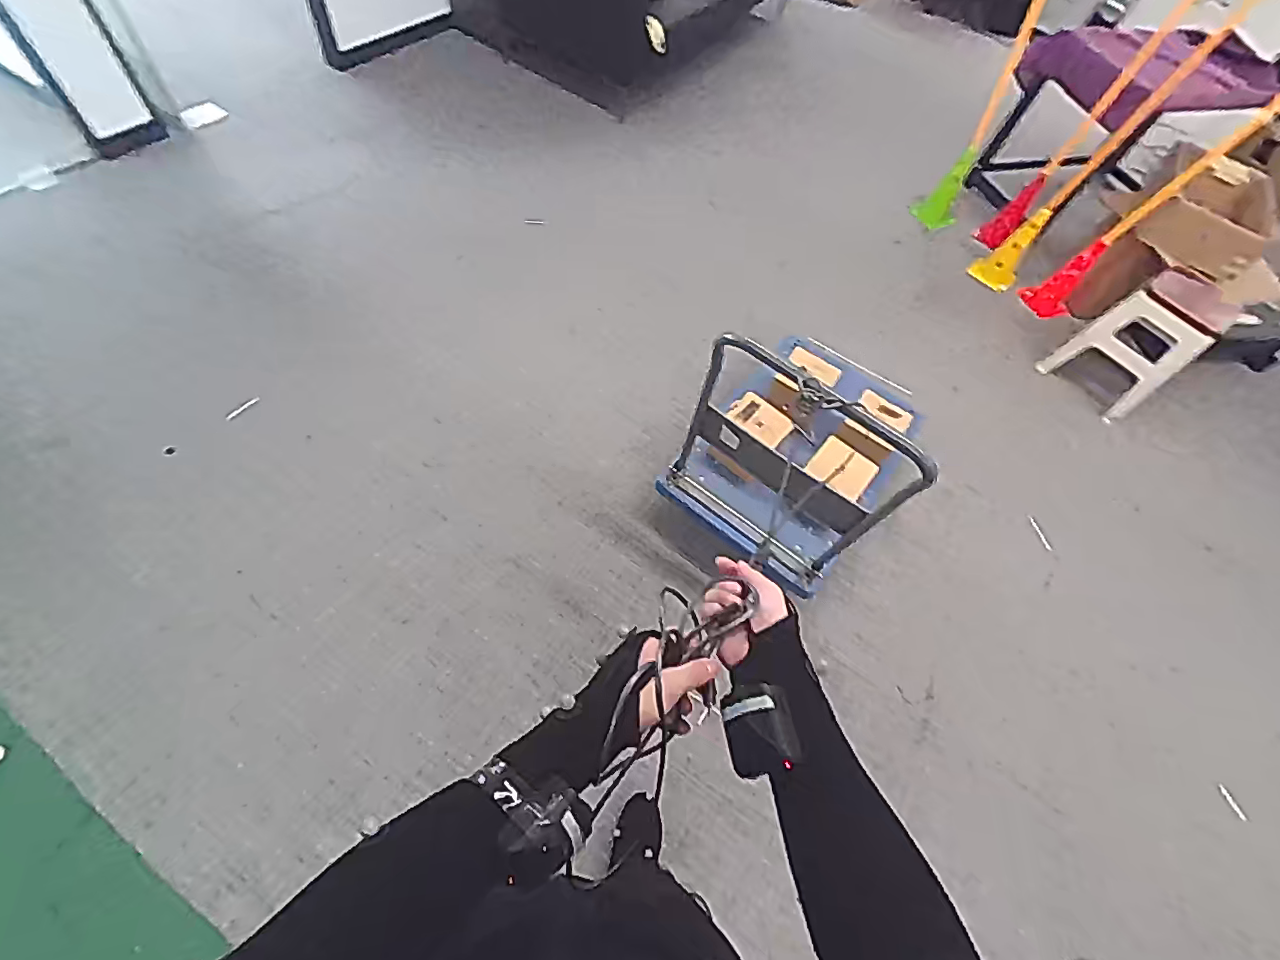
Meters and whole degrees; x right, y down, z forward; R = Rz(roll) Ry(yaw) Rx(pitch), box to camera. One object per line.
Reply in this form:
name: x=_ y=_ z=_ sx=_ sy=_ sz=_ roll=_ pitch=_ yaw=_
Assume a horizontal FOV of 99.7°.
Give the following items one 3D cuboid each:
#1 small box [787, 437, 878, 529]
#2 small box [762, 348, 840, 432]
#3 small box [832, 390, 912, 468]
small box: x=0.567 y=0.013 z=1.614 sx=0.168 sy=0.176 sz=0.179 roll=38 pitch=63 yaw=14
small box: x=0.523 y=-0.291 z=1.782 sx=0.168 sy=0.176 sz=0.179 roll=33 pitch=61 yaw=11
small box: x=0.724 y=-0.144 z=1.724 sx=0.168 sy=0.176 sz=0.179 roll=34 pitch=62 yaw=13
